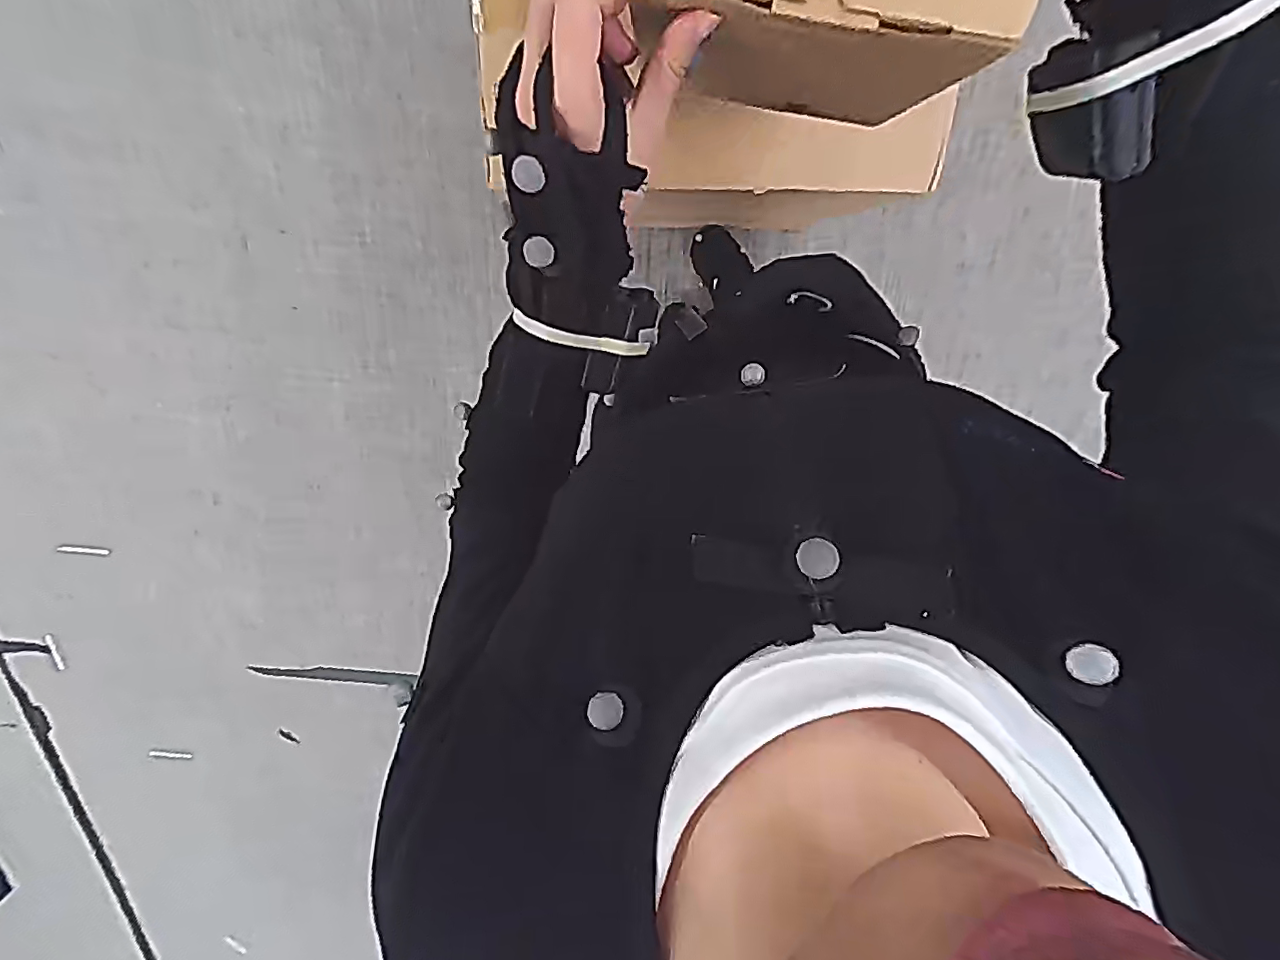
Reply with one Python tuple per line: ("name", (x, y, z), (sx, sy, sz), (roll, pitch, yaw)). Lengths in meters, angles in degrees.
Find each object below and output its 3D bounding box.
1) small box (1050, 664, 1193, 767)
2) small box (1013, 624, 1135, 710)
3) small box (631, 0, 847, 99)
("small box", (1.172, 0.574, 1.333), (0.179, 0.176, 0.168), (2, 111, 3))
("small box", (1.180, 0.514, 1.486), (0.179, 0.176, 0.168), (4, 111, 2))
("small box", (0.084, -0.465, 0.488), (0.179, 0.176, 0.168), (2, 112, 2))
